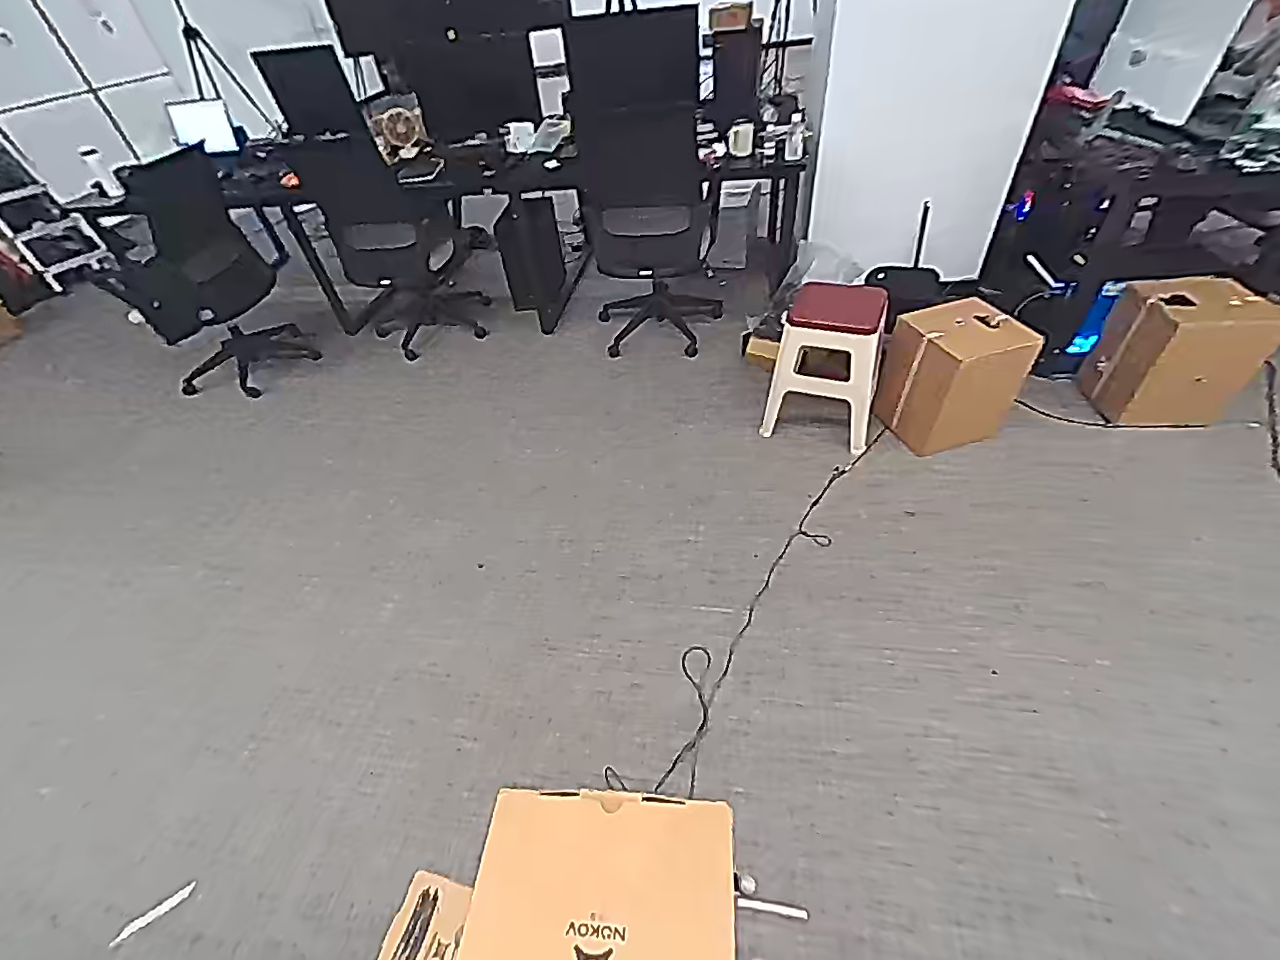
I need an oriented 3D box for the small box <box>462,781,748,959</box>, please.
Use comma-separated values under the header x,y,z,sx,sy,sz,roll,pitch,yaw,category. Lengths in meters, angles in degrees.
x,y,z,sx,sy,sz,roll,pitch,yaw,category
-0.012,0.327,0.360,0.168,0.176,0.179,-2,41,8,small box
